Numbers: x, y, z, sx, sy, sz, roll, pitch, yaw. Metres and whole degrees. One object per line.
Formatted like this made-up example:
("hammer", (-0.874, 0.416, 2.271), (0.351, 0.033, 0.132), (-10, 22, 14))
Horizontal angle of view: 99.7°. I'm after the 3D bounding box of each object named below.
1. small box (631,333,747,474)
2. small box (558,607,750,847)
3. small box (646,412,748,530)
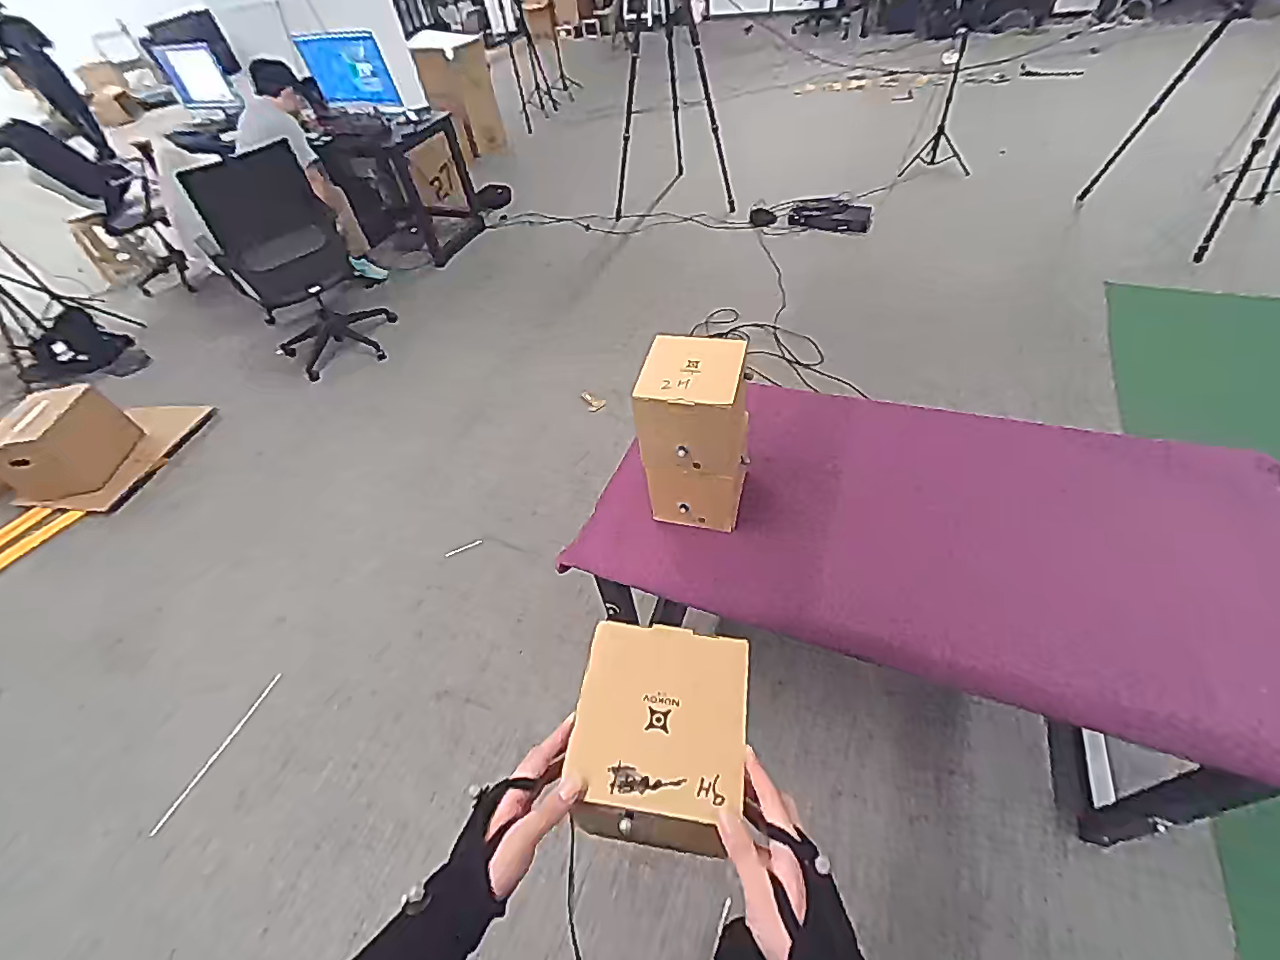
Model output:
("small box", (0.092, -0.137, 0.962), (0.168, 0.176, 0.179), (7, 51, 15))
("small box", (0.024, 0.264, 0.581), (0.168, 0.176, 0.179), (5, 47, 9))
("small box", (0.118, -0.028, 1.083), (0.168, 0.176, 0.179), (8, 51, 15))
